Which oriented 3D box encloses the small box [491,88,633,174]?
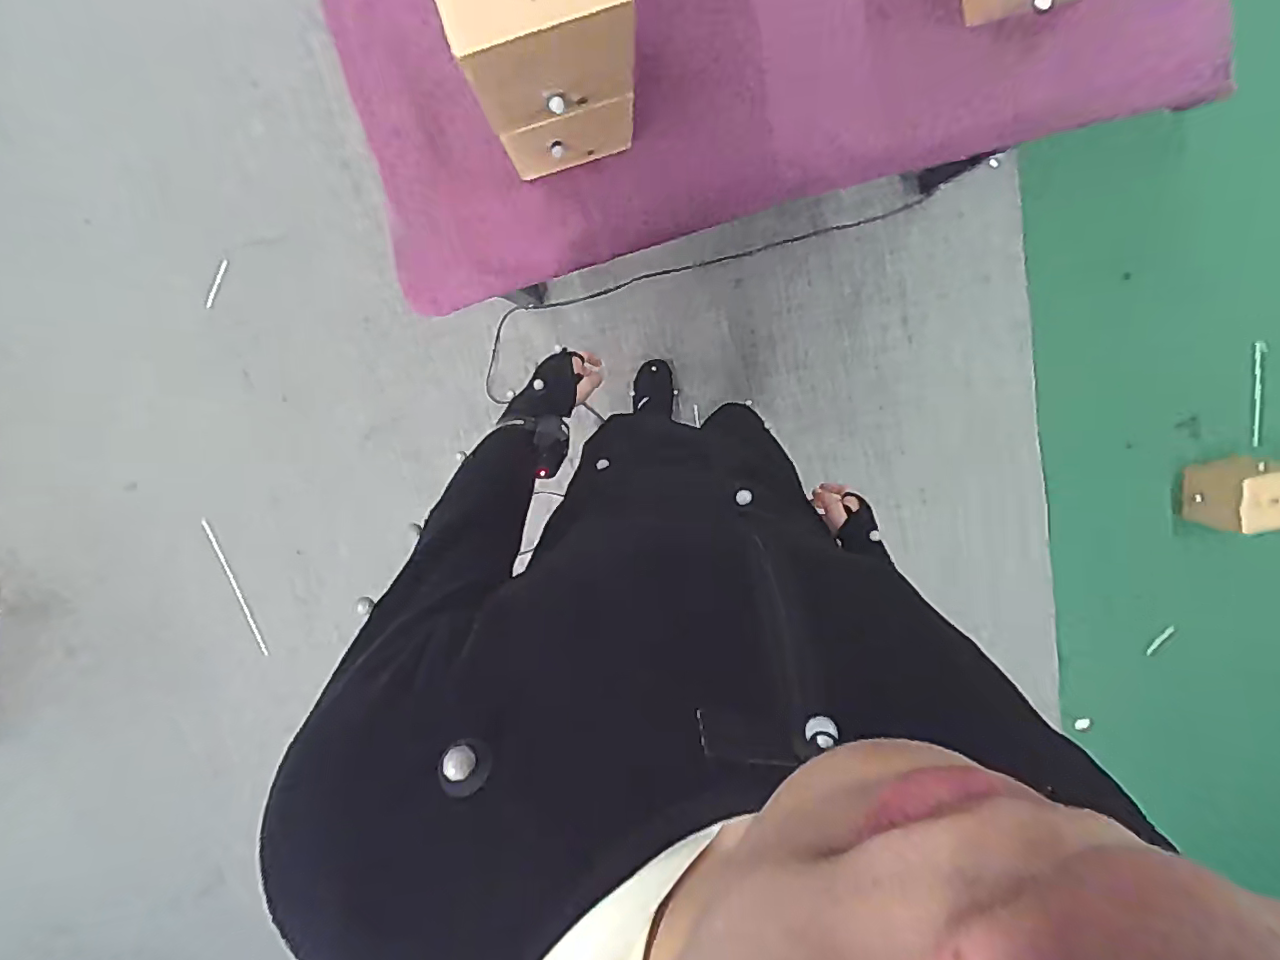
[{"bbox_3d":[-0.107,-0.516,0.687,0.168,0.176,0.179,-16,101,2],"label":"small box"}]

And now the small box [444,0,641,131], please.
[{"bbox_3d":[-0.102,-0.485,0.525,0.168,0.176,0.179,-16,102,2],"label":"small box"}]

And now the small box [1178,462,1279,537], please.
[{"bbox_3d":[1.770,0.052,1.605,0.179,0.176,0.168,-12,102,1],"label":"small box"}]
